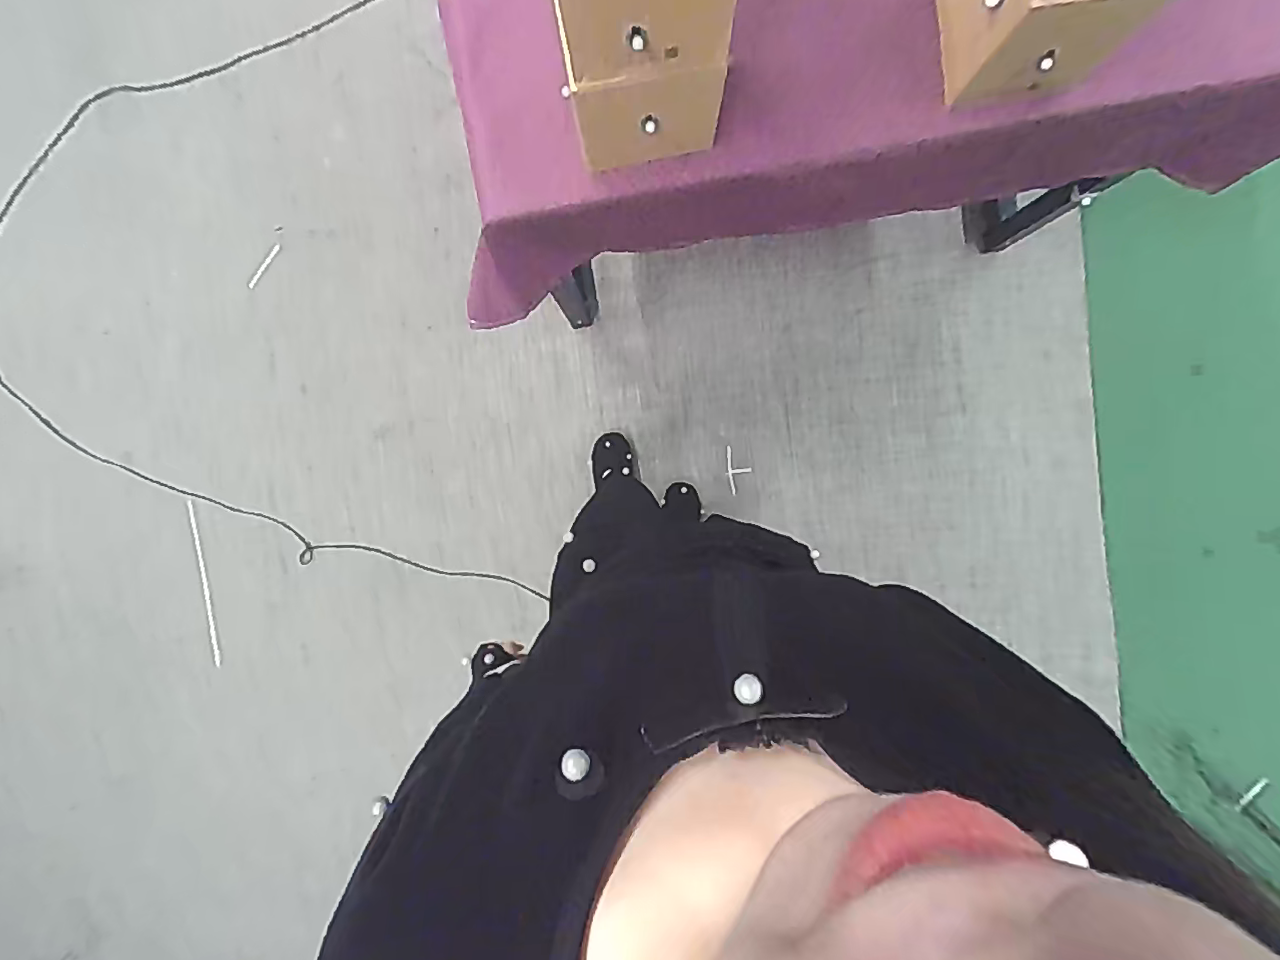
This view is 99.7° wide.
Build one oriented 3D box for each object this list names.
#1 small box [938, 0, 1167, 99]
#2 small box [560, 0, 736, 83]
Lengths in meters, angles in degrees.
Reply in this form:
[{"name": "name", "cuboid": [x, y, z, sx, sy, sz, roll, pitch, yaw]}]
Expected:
[{"name": "small box", "cuboid": [0.485, -0.596, 0.650, 0.168, 0.176, 0.179, -7, 92, 1]}, {"name": "small box", "cuboid": [-0.002, -0.521, 0.499, 0.168, 0.176, 0.179, -10, 93, 2]}]
